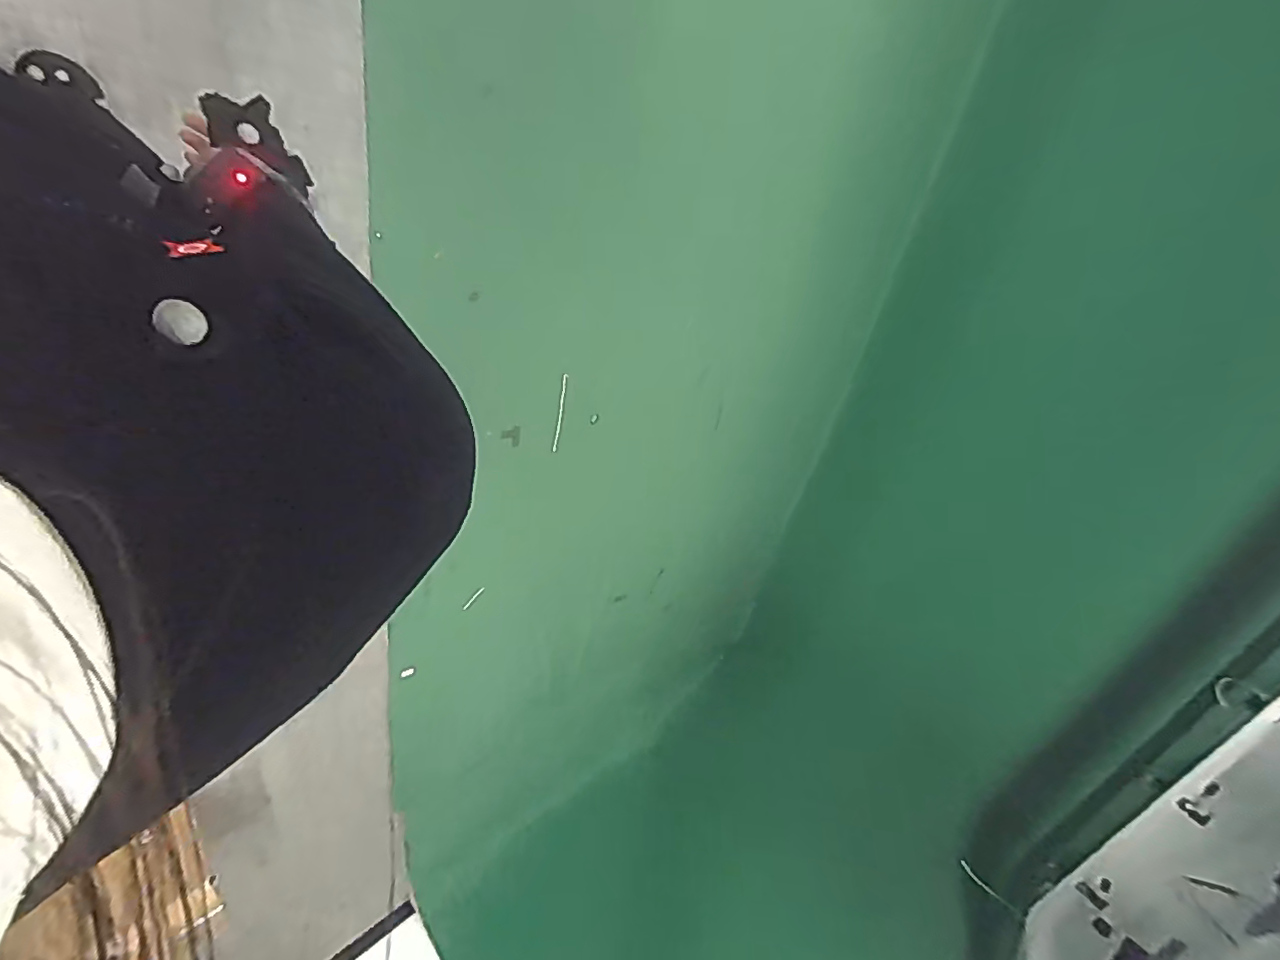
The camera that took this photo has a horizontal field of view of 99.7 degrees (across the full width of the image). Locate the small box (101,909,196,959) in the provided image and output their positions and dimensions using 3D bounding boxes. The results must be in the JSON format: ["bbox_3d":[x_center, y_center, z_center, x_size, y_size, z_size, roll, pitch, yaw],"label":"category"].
[{"bbox_3d":[-1.322,1.328,1.458,0.179,0.176,0.168,-19,127,-40],"label":"small box"}]
